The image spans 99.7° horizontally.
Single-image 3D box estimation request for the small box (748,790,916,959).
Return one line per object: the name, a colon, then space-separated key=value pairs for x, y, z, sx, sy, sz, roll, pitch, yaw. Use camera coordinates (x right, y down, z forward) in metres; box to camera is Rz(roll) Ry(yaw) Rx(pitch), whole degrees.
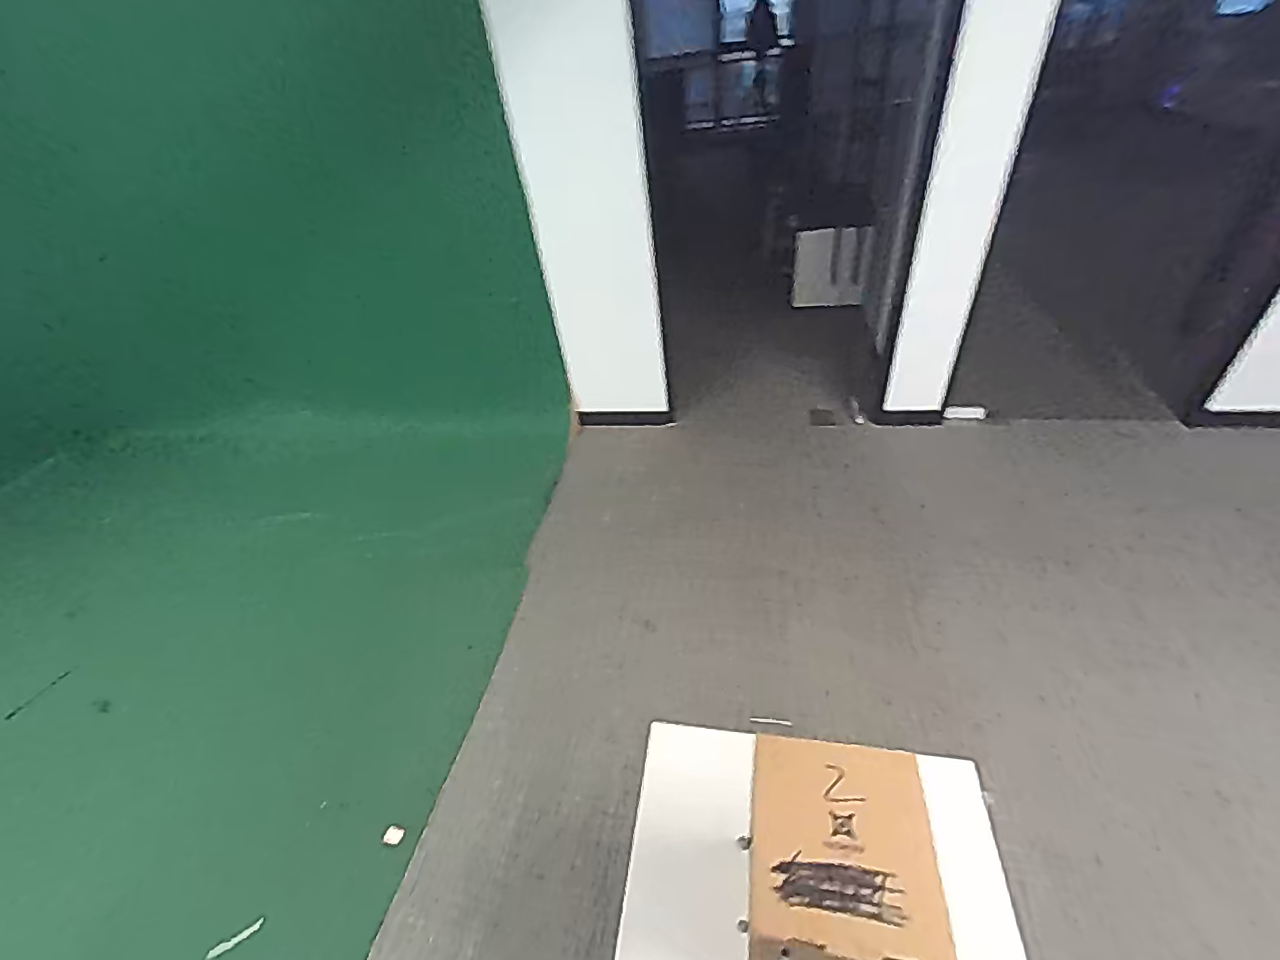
small box: x=0.218 y=0.512 z=0.653 sx=0.168 sy=0.176 sz=0.179 roll=1 pitch=40 yaw=12
